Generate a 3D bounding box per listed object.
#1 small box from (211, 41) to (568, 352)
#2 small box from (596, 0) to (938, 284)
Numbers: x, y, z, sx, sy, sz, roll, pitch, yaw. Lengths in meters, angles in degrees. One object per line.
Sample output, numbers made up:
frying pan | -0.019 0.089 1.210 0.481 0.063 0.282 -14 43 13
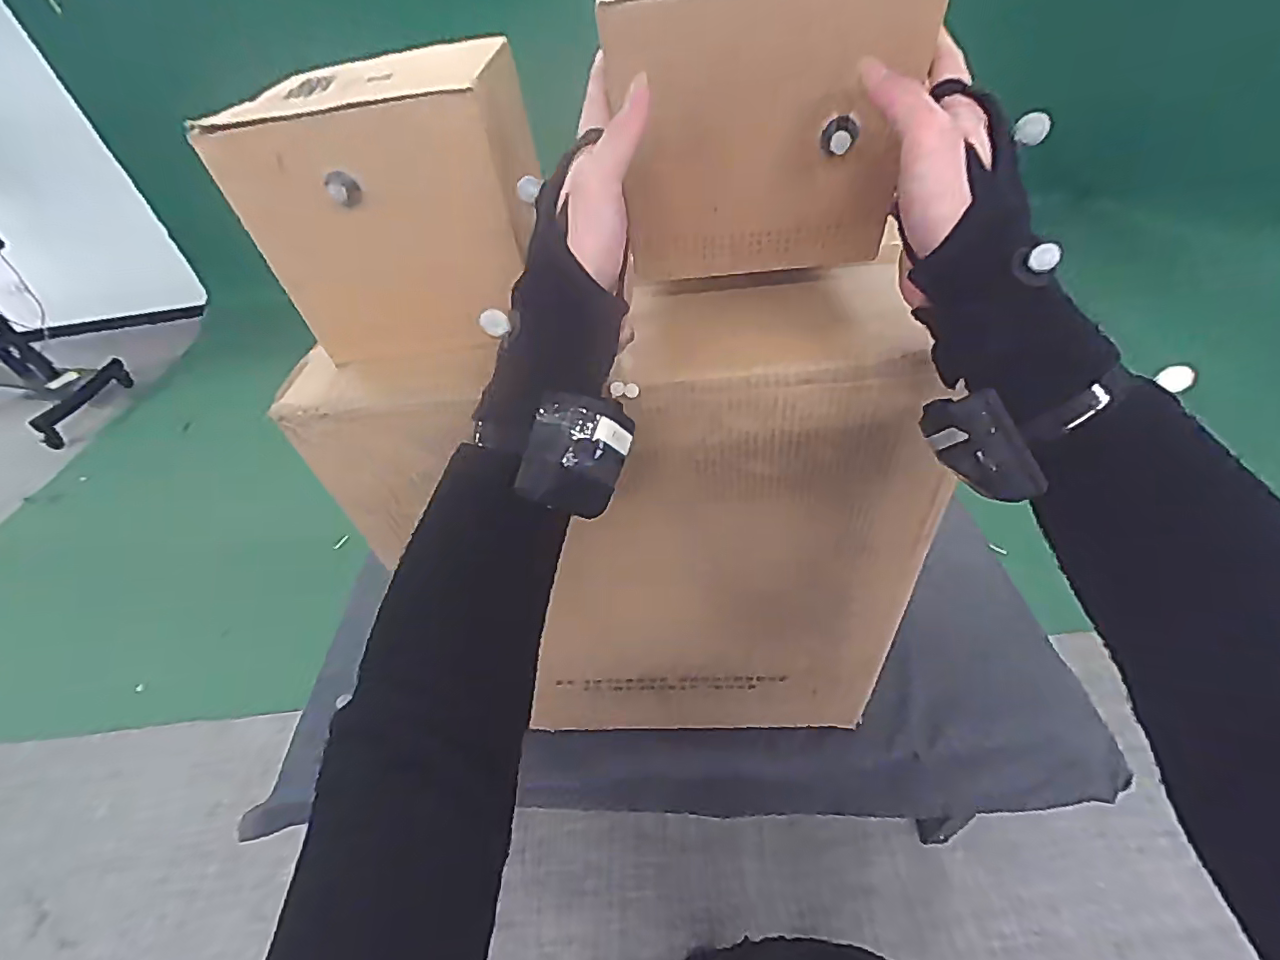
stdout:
small box | -0.171 -0.220 0.438 0.179 0.176 0.168 -4 49 8
small box | 0.075 -0.262 0.382 0.179 0.176 0.168 -2 56 7
